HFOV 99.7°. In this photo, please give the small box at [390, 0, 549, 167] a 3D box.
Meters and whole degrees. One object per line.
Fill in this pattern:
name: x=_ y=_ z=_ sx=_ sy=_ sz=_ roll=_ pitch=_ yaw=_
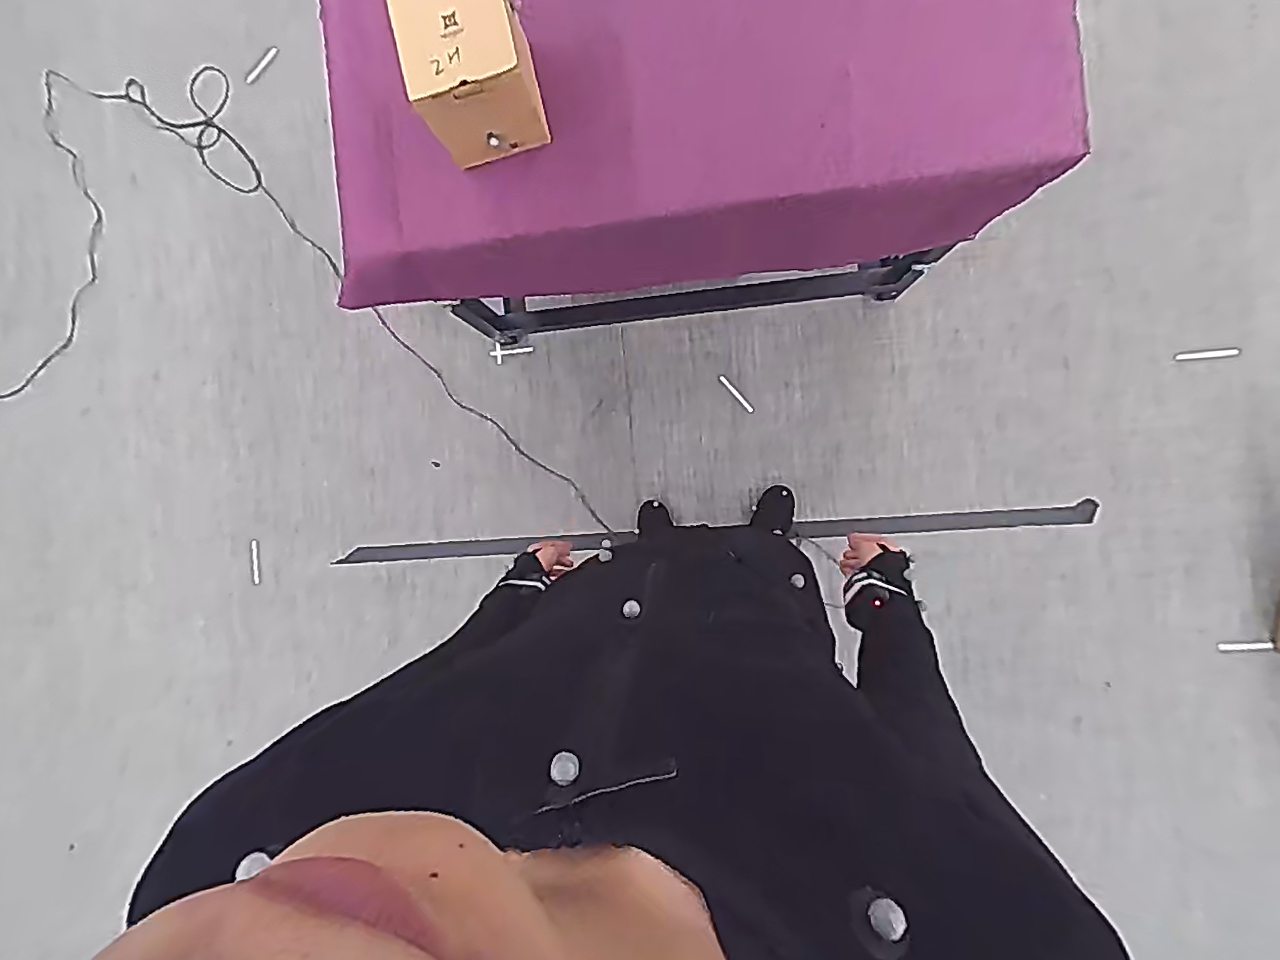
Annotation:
small box: x=-0.256 y=-0.634 z=0.842 sx=0.168 sy=0.176 sz=0.179 roll=-13 pitch=89 yaw=6
